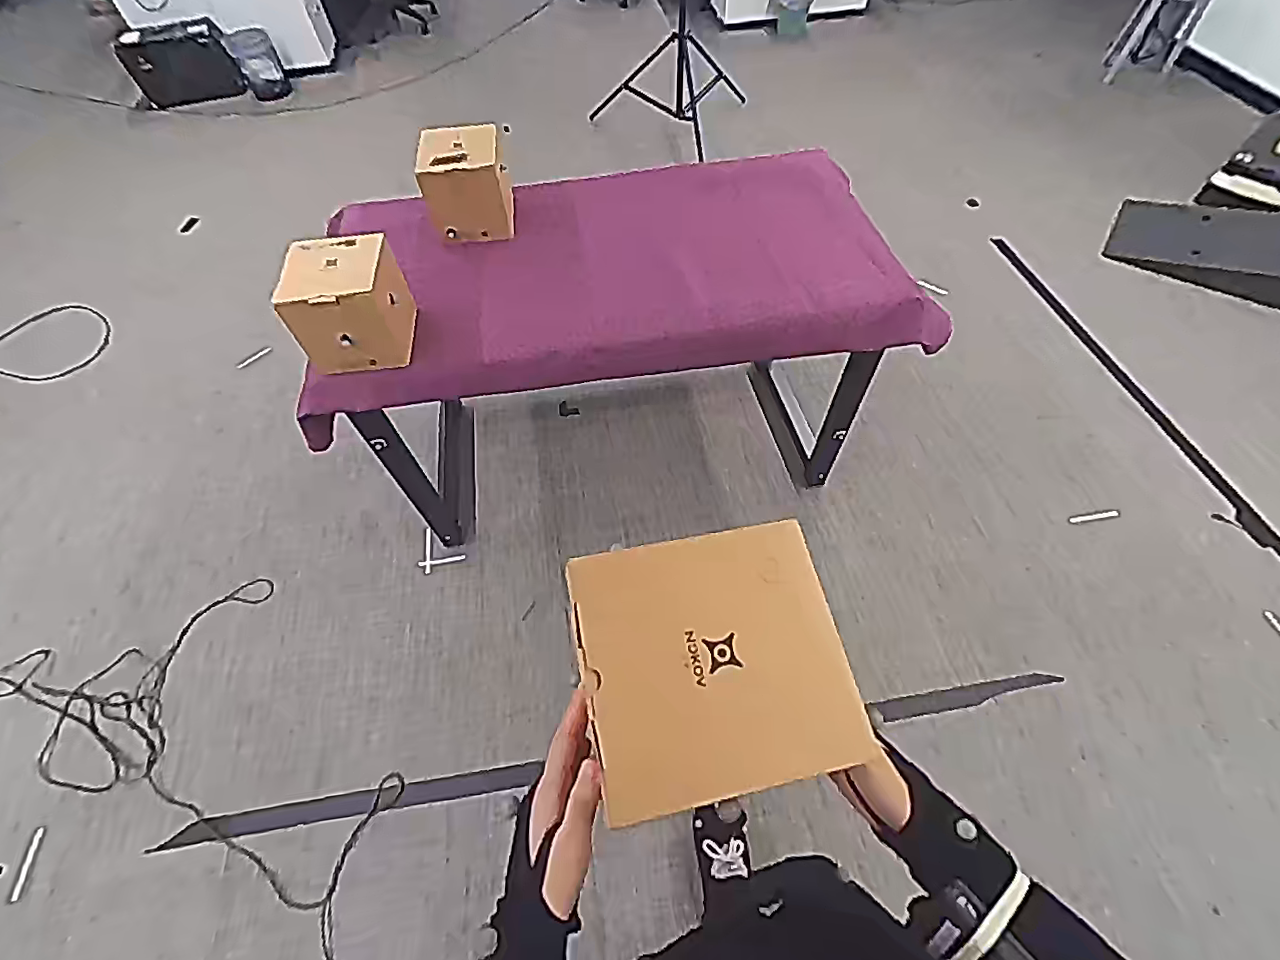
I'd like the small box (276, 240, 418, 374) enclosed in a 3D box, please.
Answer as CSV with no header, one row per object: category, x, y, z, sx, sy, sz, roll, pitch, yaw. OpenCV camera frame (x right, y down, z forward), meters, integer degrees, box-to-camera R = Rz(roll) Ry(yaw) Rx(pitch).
small box,-0.529,-0.312,1.004,0.168,0.176,0.179,-7,57,-3

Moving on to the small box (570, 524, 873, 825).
small box,0.044,0.150,0.434,0.179,0.176,0.168,-10,66,-8

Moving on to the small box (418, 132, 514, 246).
small box,-0.383,-0.648,1.218,0.168,0.176,0.179,-7,57,-3
